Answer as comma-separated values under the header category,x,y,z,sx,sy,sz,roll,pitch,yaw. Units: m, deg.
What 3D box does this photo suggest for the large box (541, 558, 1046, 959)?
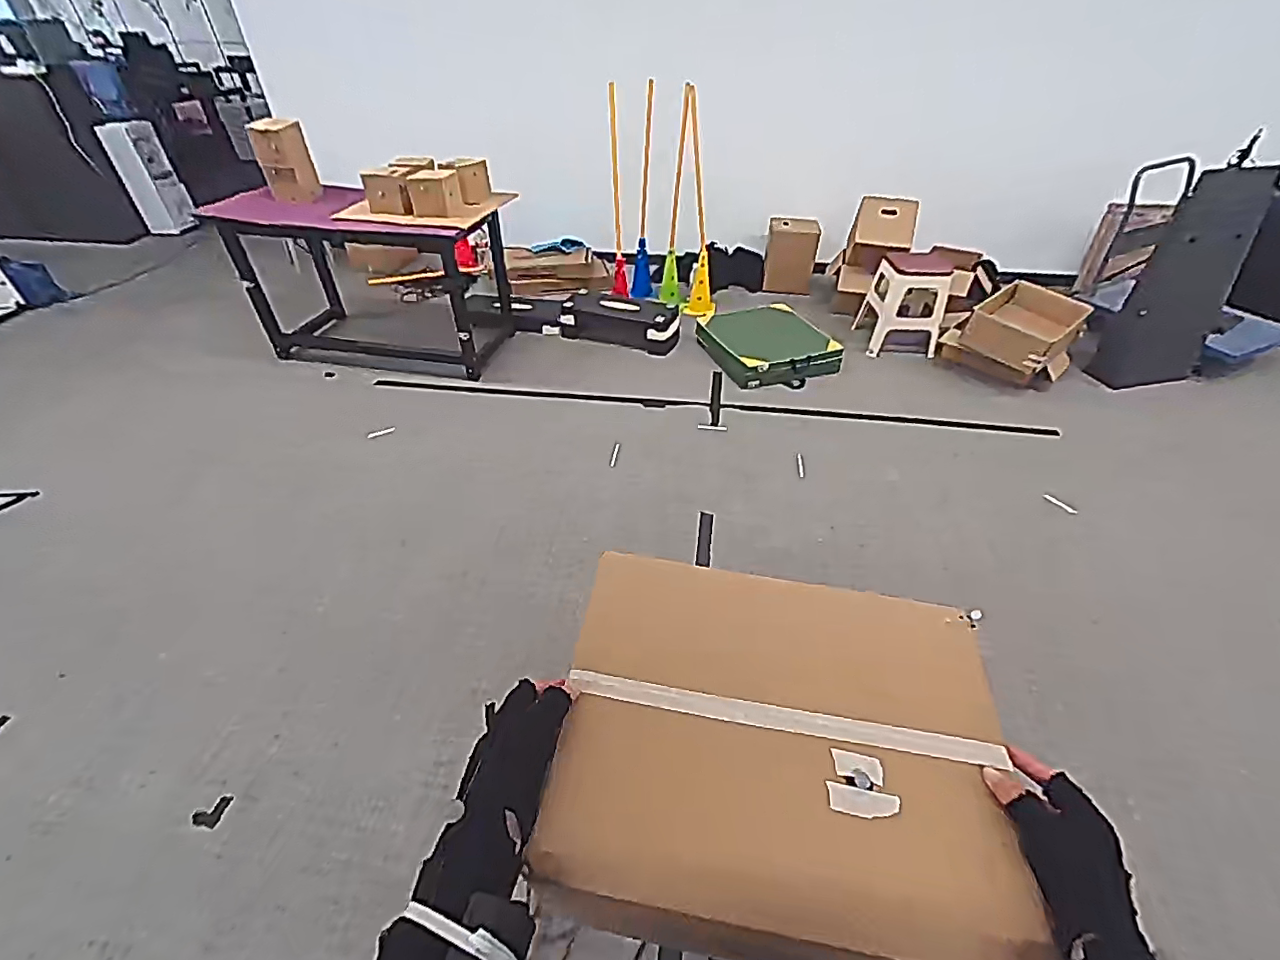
category,x,y,z,sx,sy,sz,roll,pitch,yaw
large box,0.130,0.328,0.631,0.408,0.320,0.320,9,47,6
